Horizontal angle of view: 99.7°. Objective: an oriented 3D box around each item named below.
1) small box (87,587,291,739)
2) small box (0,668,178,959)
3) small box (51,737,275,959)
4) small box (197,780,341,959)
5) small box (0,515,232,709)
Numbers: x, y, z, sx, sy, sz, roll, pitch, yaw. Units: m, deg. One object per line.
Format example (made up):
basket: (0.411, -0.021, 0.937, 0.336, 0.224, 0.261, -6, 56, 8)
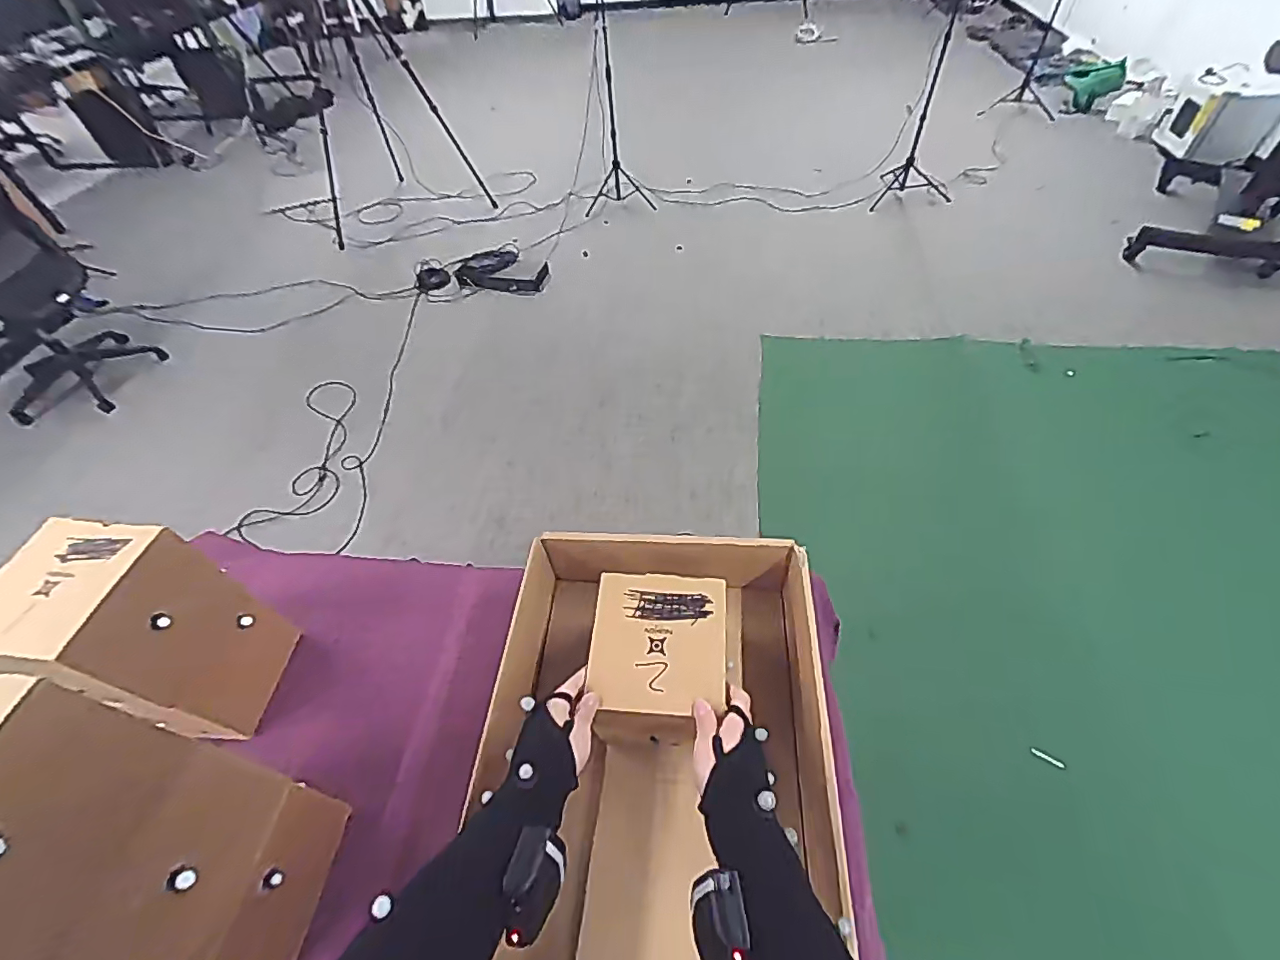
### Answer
small box: (-0.673, 0.276, 0.812, 0.168, 0.176, 0.179, 0, 49, 5)
small box: (-0.505, 0.247, 0.392, 0.168, 0.176, 0.179, 4, 49, 5)
small box: (-0.501, 0.355, 0.518, 0.168, 0.176, 0.179, 3, 50, 5)
small box: (-0.494, 0.464, 0.640, 0.168, 0.176, 0.179, 2, 49, 5)
small box: (-0.675, 0.168, 0.688, 0.168, 0.176, 0.179, 4, 51, 7)
